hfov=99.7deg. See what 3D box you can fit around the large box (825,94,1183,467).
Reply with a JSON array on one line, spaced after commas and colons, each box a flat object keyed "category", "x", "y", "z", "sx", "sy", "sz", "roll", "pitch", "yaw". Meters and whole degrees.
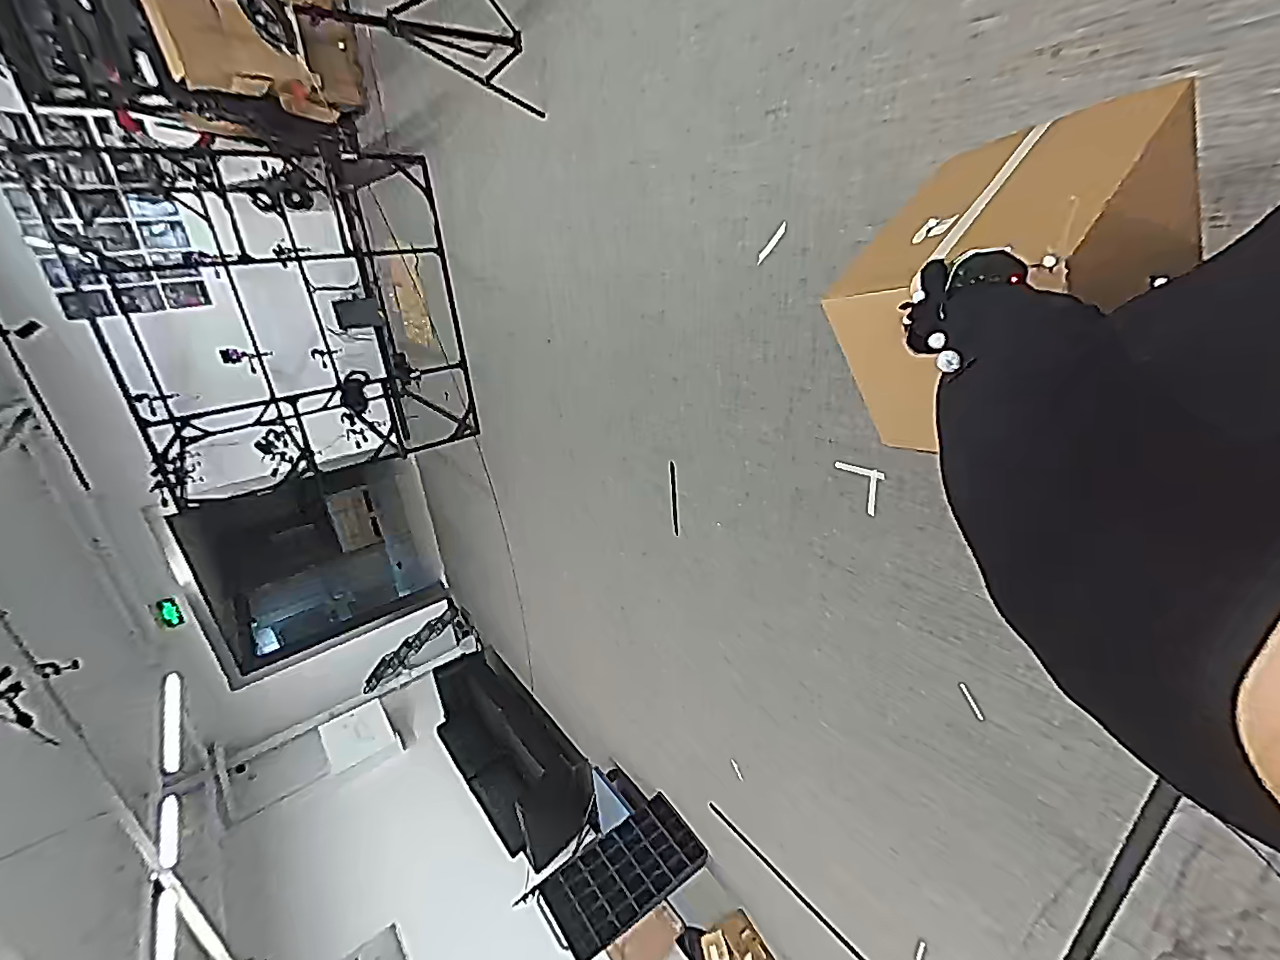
[{"category": "large box", "x": 0.567, "y": -0.279, "z": 0.833, "sx": 0.320, "sy": 0.408, "sz": 0.320, "roll": 51, "pitch": 160, "yaw": -28}]
